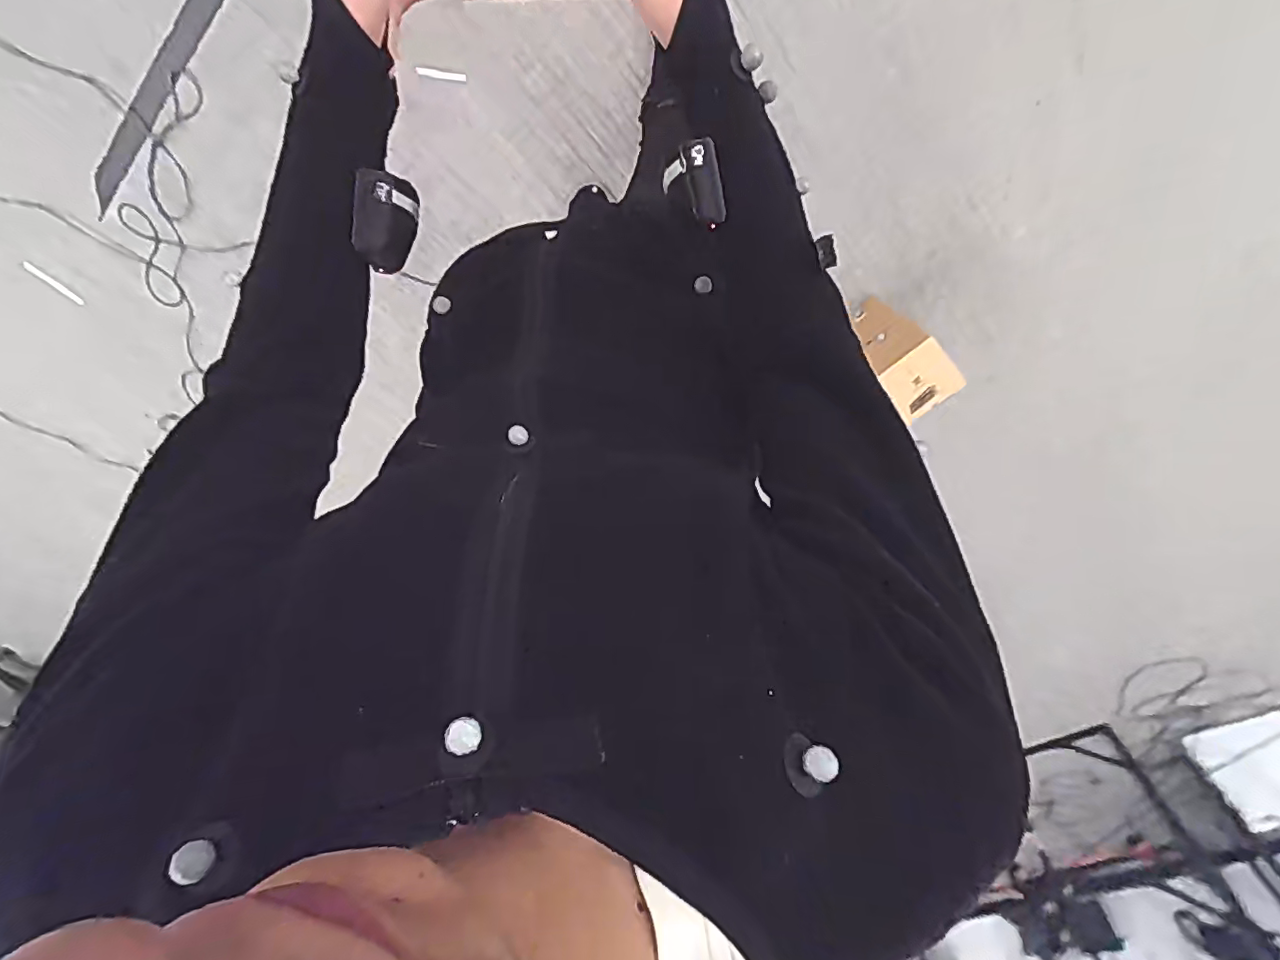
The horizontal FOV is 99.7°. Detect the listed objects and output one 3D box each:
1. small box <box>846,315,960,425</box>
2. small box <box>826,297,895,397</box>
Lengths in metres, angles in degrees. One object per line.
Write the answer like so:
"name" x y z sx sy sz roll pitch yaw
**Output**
"small box" 0.651 -0.279 1.352 0.168 0.176 0.179 -39 117 24
"small box" 0.647 -0.370 1.489 0.179 0.176 0.168 37 118 -24
